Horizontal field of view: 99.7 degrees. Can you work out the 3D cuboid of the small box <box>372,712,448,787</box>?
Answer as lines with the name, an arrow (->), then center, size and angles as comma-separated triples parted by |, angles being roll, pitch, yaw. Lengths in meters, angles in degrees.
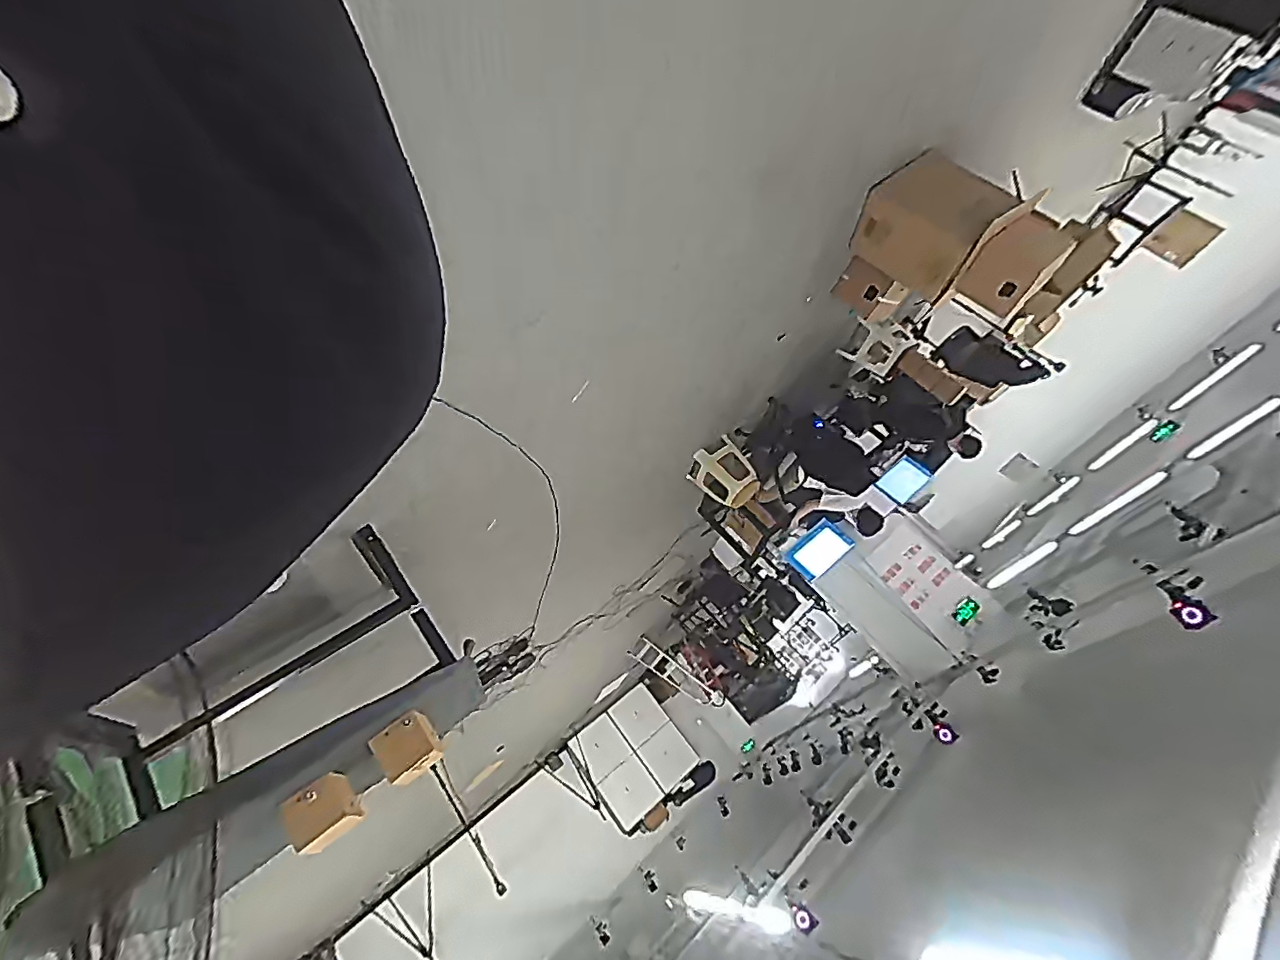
small box -> -0.806, 0.944, 1.897 | 0.168, 0.176, 0.179 | -34, 158, -21

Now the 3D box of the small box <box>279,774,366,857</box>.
small box -> -1.047, 1.106, 1.789 | 0.168, 0.176, 0.179 | -34, 155, -25
